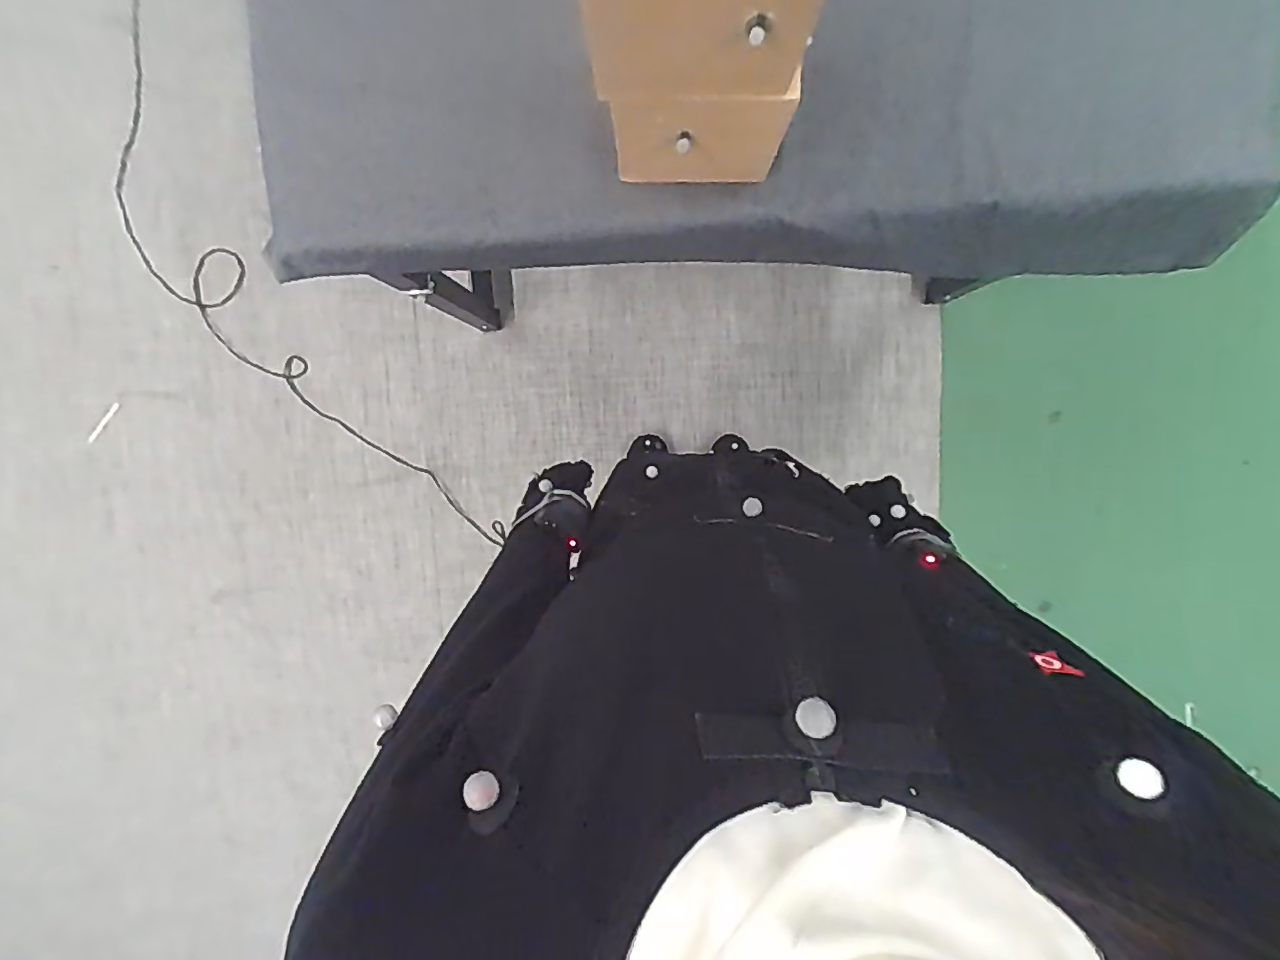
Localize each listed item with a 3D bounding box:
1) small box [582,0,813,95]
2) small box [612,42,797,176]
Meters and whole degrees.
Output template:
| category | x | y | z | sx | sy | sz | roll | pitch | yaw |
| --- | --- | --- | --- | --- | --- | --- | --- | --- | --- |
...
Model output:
| category | x | y | z | sx | sy | sz | roll | pitch | yaw |
| --- | --- | --- | --- | --- | --- | --- | --- | --- | --- |
| small box | 0.045 | -0.430 | 0.412 | 0.179 | 0.176 | 0.168 | -1 | 94 | 2 |
| small box | 0.062 | -0.444 | 0.573 | 0.179 | 0.176 | 0.168 | 1 | 95 | 2 |
